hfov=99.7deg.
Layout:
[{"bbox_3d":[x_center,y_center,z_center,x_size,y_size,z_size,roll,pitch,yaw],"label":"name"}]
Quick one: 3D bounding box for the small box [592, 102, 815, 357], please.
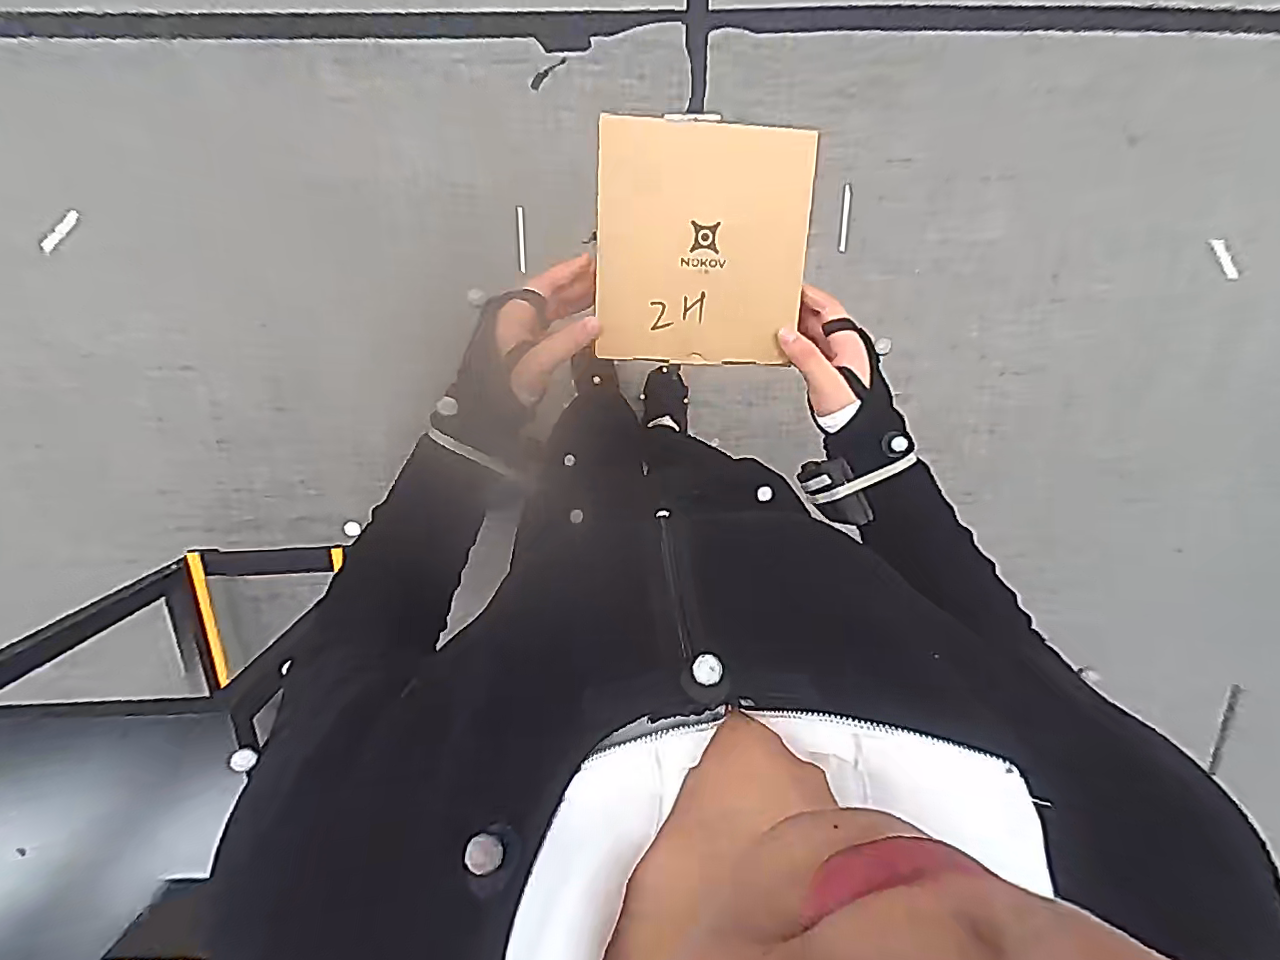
[{"bbox_3d":[0.041,-0.209,0.496,0.168,0.176,0.179,1,106,-5],"label":"small box"}]
